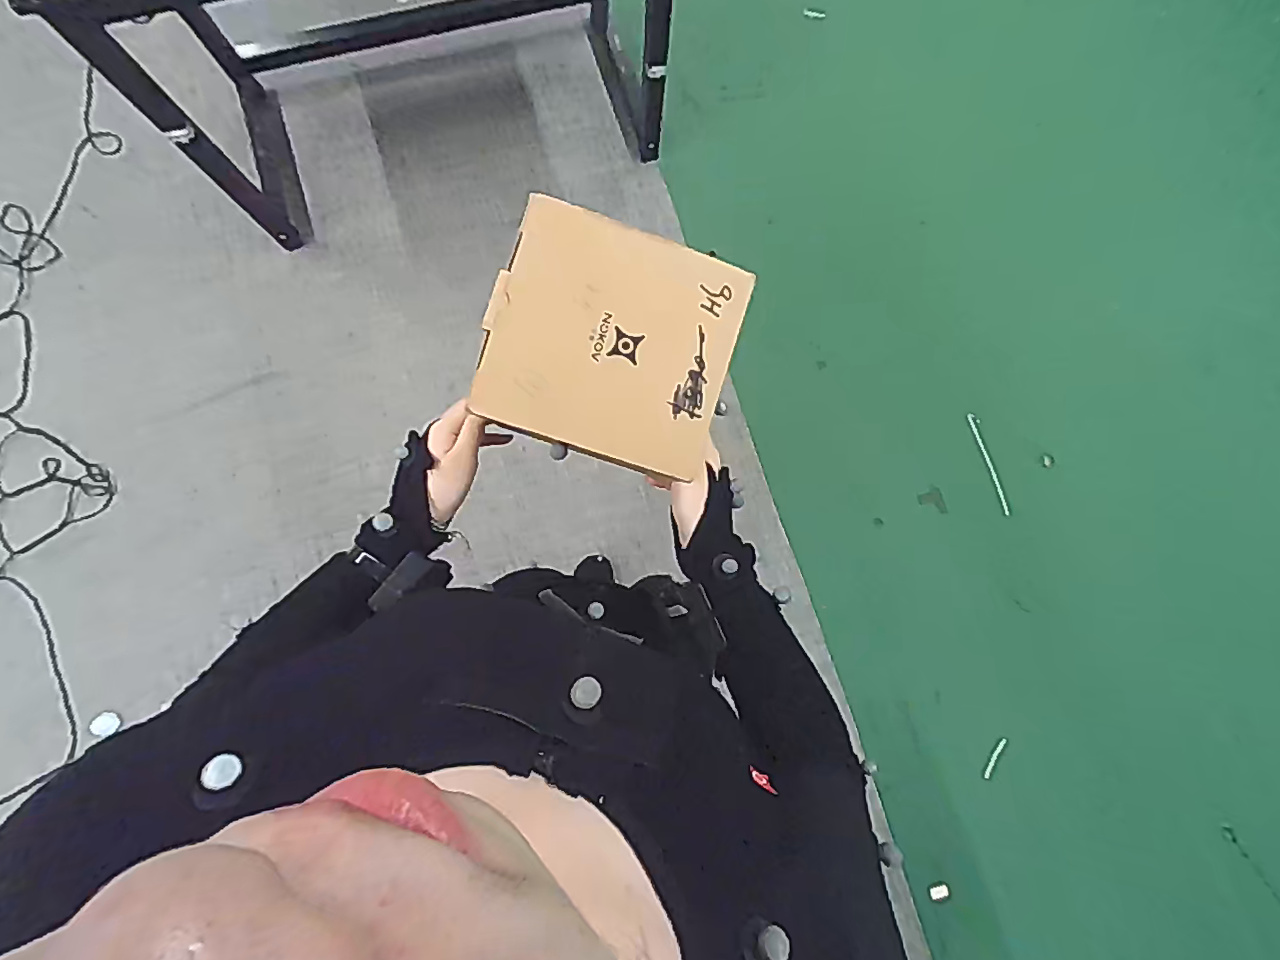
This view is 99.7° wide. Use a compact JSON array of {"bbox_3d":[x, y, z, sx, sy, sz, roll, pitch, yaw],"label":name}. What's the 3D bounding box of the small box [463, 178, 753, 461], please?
[{"bbox_3d":[-0.030,-0.116,0.474,0.179,0.176,0.168,18,89,-8],"label":"small box"}]
